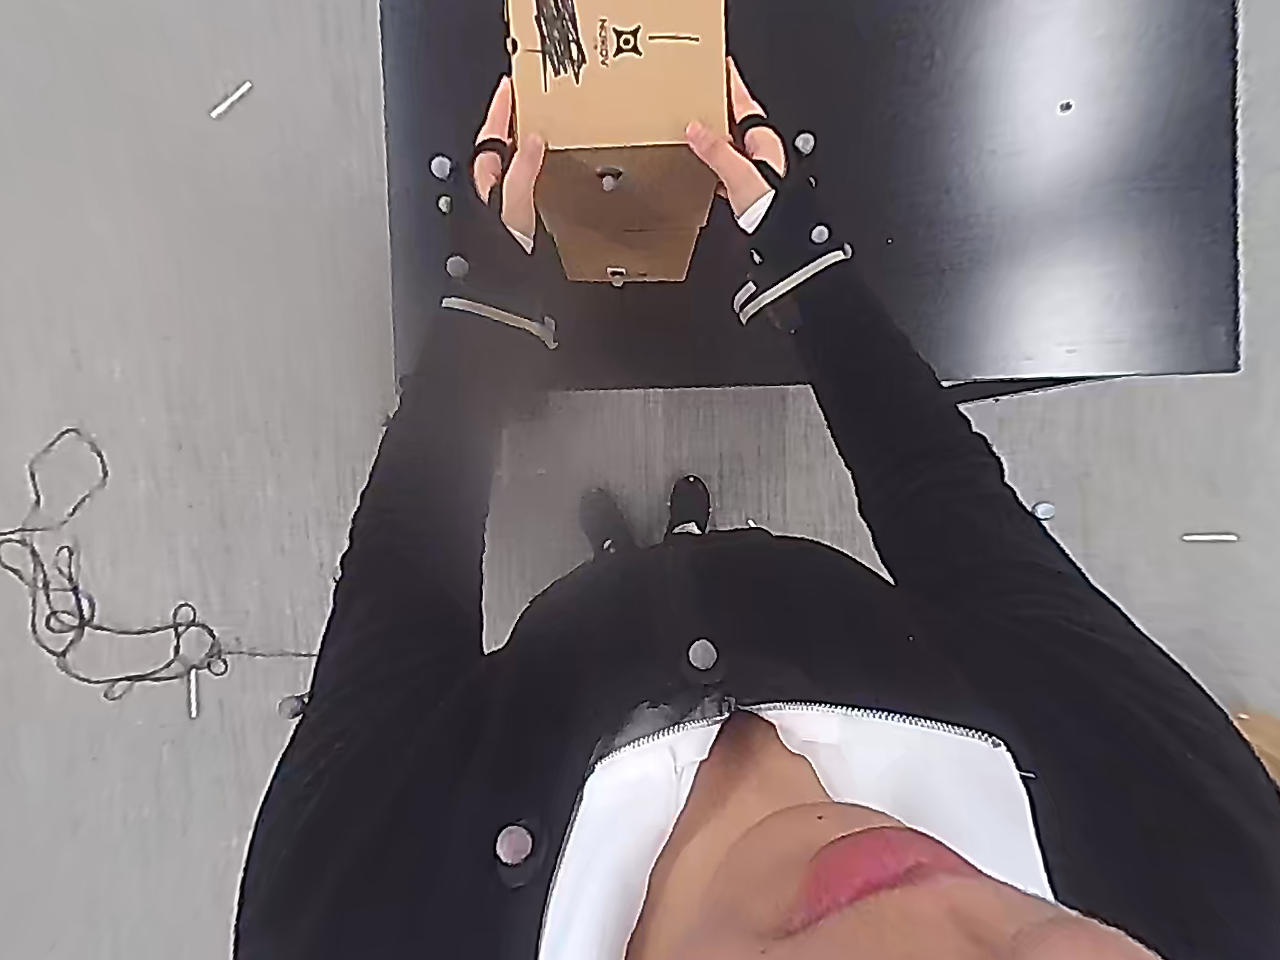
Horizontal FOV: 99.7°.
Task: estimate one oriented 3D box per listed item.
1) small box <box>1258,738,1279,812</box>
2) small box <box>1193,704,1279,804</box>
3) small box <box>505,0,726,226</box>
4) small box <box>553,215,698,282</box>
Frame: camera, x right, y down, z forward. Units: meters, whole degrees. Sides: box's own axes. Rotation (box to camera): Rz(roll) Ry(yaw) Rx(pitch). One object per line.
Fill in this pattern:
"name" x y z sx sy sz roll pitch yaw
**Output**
"small box" 1.668 0.744 1.310 0.179 0.176 0.168 -9 92 0
"small box" 1.674 0.740 1.474 0.168 0.176 0.179 -7 92 -1
"small box" -0.018 -0.356 0.511 0.179 0.176 0.168 -3 94 1
"small box" -0.019 -0.365 0.681 0.168 0.176 0.179 -2 92 0
